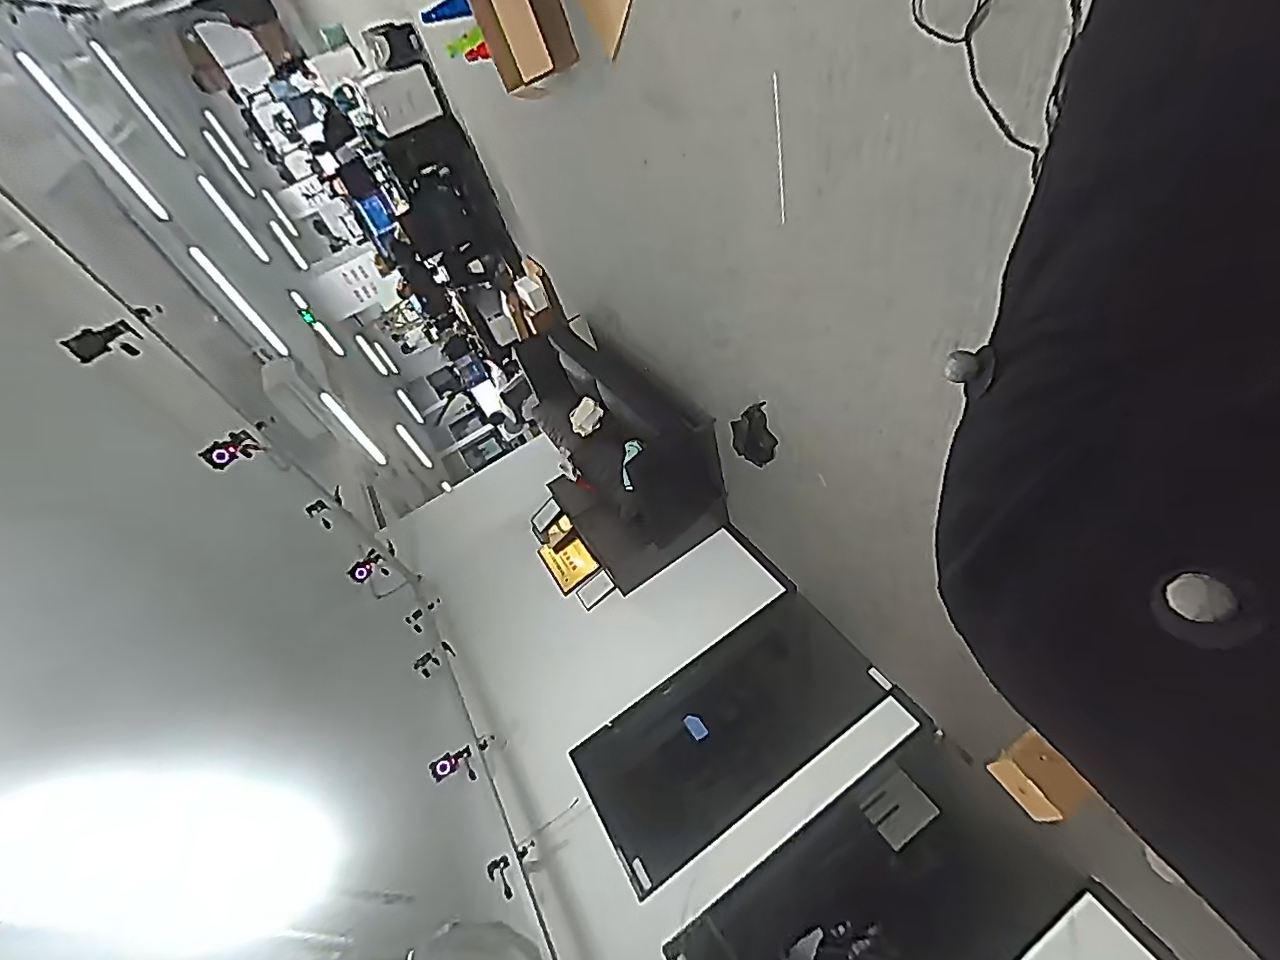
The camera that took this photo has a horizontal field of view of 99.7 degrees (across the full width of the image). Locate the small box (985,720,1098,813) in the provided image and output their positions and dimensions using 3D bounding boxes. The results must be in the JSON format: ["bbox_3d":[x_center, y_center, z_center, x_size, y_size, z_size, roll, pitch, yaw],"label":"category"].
[{"bbox_3d":[1.128,0.803,1.520,0.168,0.176,0.179,53,169,34],"label":"small box"}]
